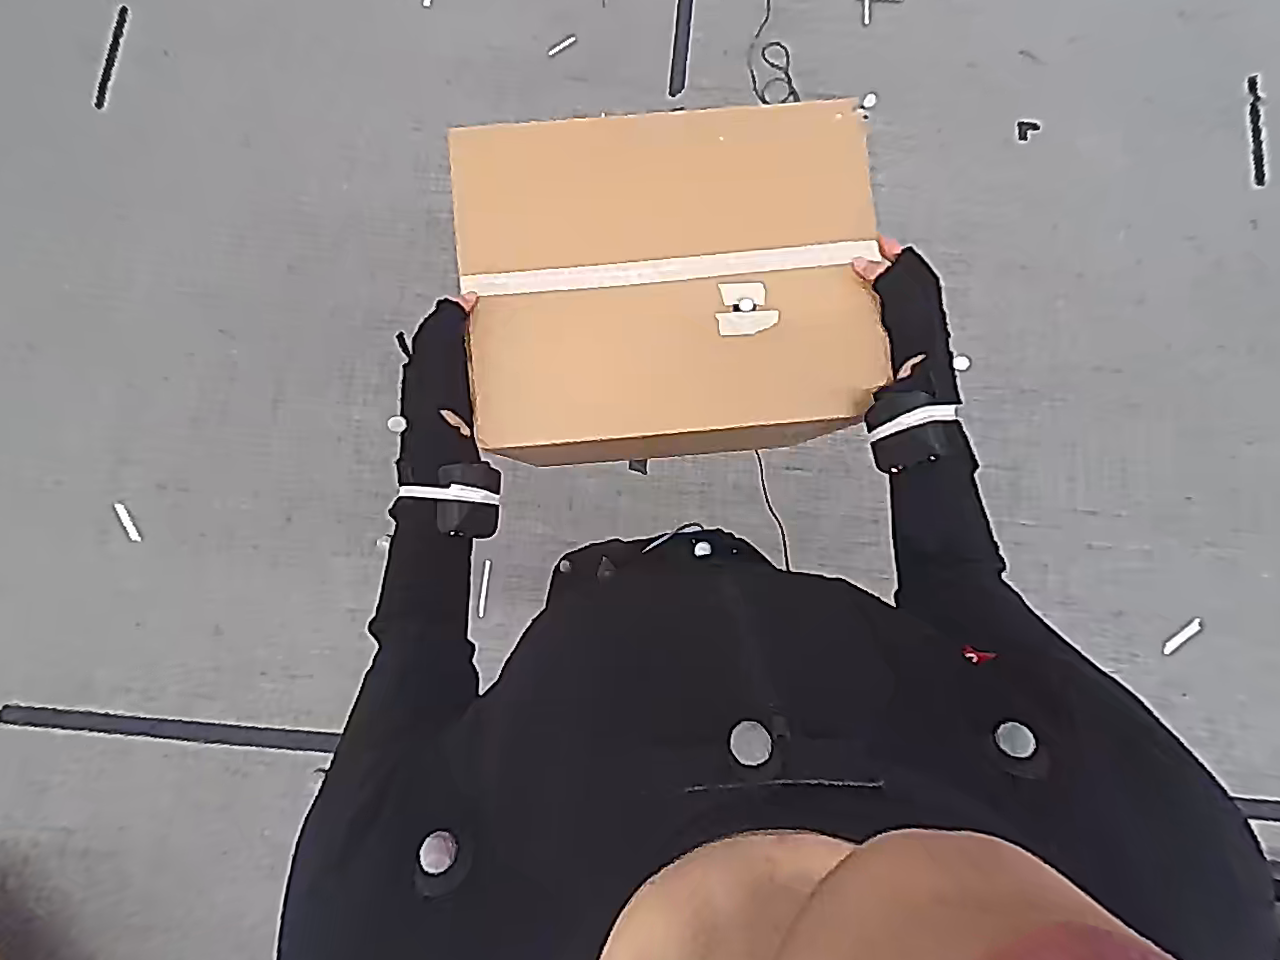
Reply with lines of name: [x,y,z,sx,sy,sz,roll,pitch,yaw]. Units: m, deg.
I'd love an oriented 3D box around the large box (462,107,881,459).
large box: [0.027,-0.205,0.685,0.408,0.320,0.320,-4,89,-2]
